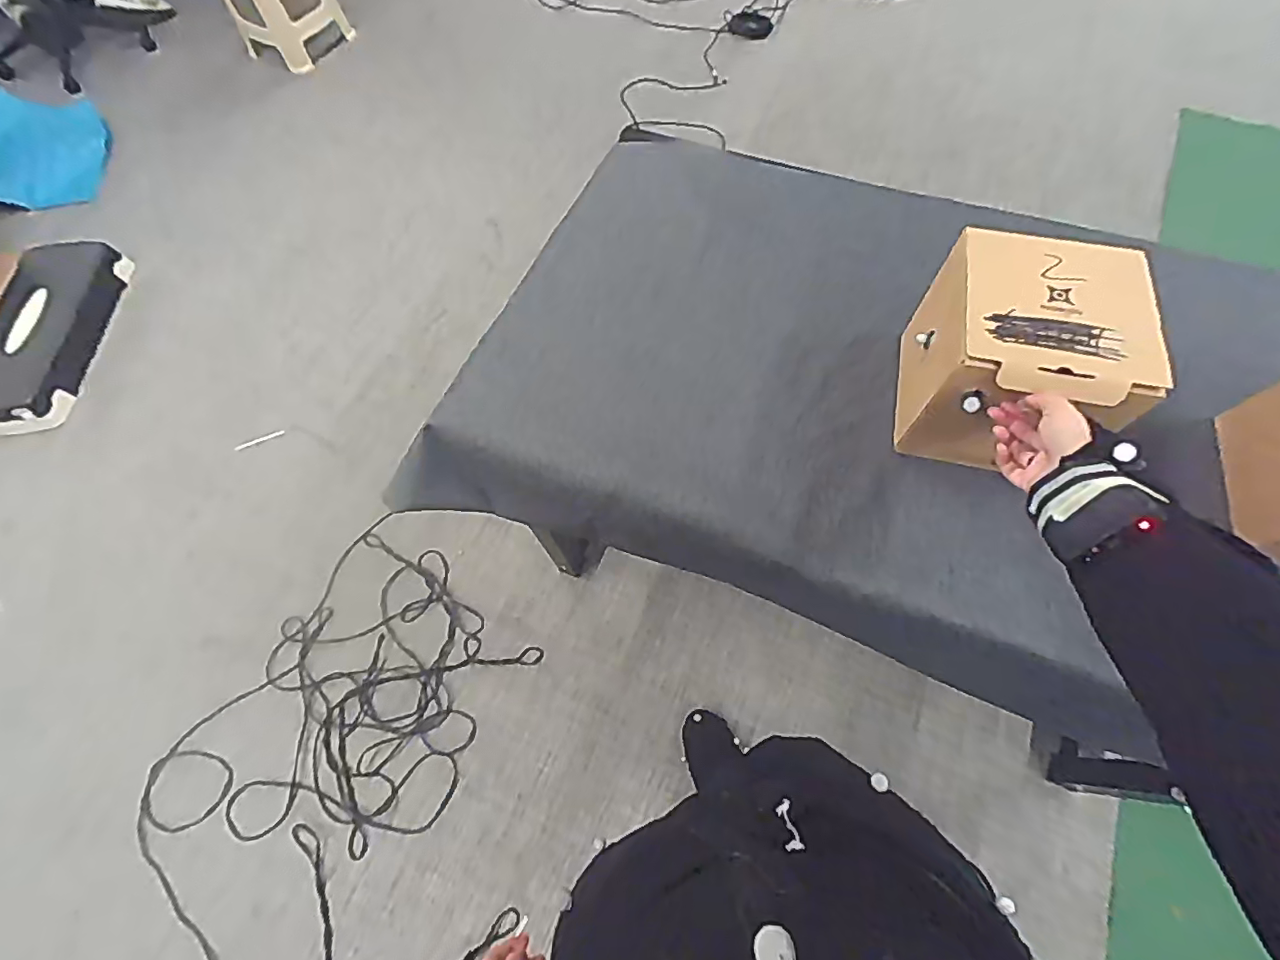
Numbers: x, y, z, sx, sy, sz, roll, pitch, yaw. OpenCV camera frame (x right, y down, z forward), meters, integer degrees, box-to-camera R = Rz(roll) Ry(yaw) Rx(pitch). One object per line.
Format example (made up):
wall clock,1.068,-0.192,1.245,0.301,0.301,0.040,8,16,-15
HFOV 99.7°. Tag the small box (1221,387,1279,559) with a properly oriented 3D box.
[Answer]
small box,0.708,-0.009,0.497,0.168,0.176,0.179,15,65,8
